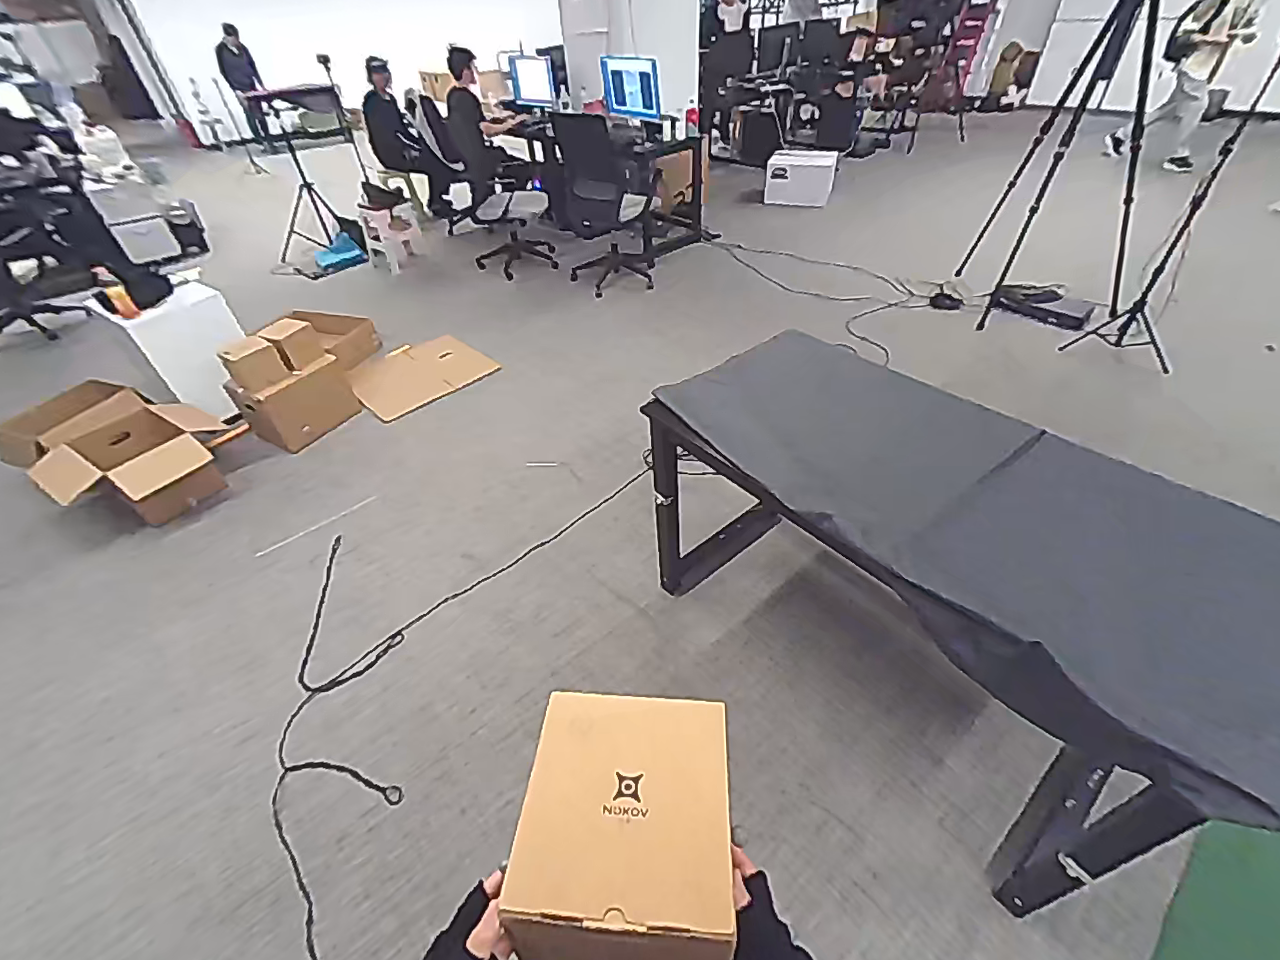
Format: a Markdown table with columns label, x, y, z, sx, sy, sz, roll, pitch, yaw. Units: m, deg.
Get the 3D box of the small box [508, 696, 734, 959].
| label | x | y | z | sx | sy | sz | roll | pitch | yaw |
| --- | --- | --- | --- | --- | --- | --- | --- | --- | --- |
| small box | -0.007 | 0.329 | 0.494 | 0.168 | 0.176 | 0.179 | 2 | 35 | 5 |
